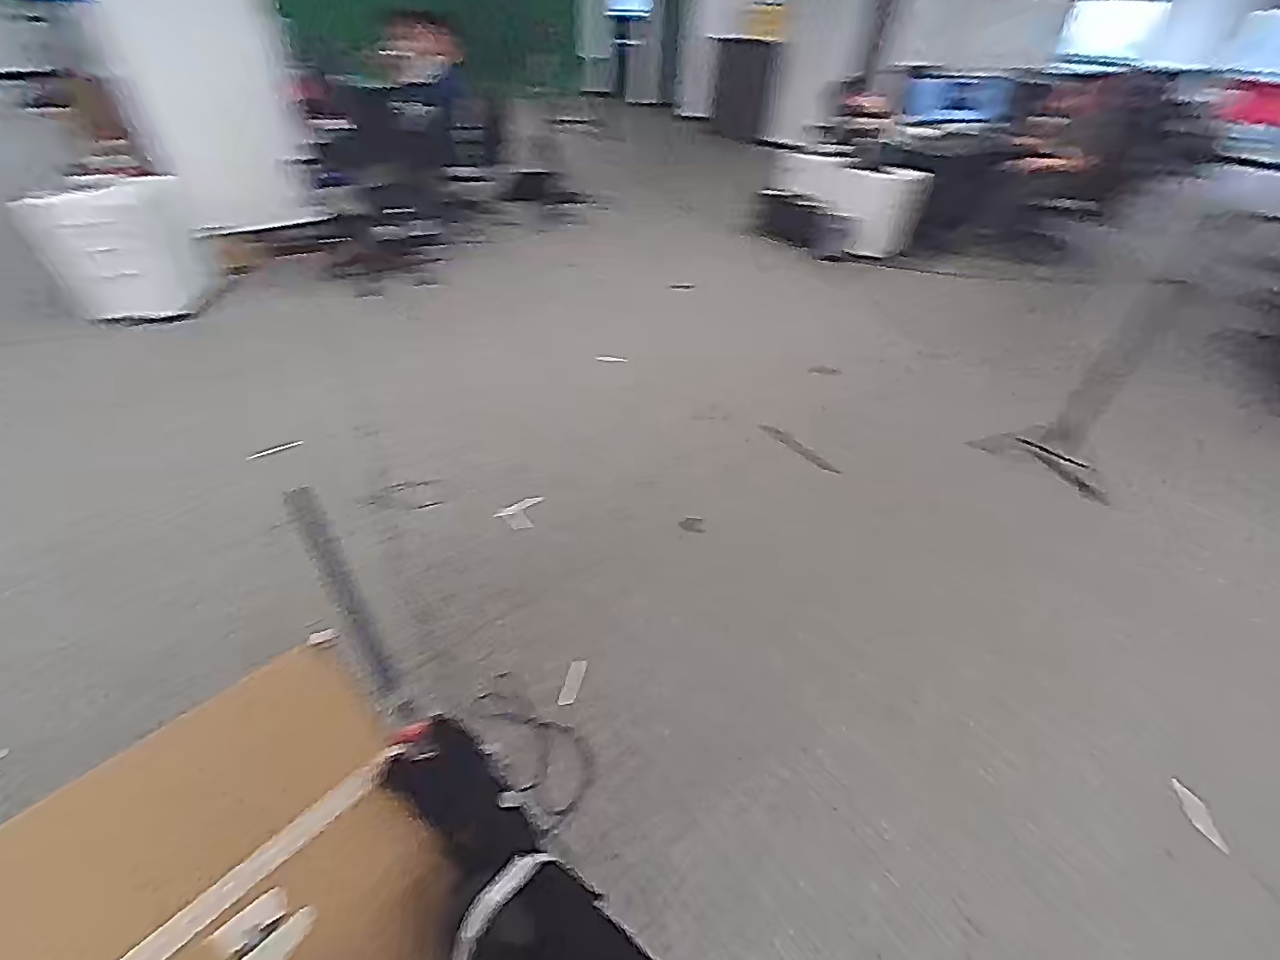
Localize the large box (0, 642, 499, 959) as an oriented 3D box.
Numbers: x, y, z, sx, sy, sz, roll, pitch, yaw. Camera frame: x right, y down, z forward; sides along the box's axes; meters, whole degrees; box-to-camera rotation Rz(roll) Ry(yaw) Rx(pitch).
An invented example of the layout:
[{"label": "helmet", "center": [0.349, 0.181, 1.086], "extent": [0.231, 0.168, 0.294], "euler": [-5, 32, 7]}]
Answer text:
[{"label": "large box", "center": [-0.387, 0.449, 0.510], "extent": [0.320, 0.320, 0.408], "euler": [41, 51, 21]}]
